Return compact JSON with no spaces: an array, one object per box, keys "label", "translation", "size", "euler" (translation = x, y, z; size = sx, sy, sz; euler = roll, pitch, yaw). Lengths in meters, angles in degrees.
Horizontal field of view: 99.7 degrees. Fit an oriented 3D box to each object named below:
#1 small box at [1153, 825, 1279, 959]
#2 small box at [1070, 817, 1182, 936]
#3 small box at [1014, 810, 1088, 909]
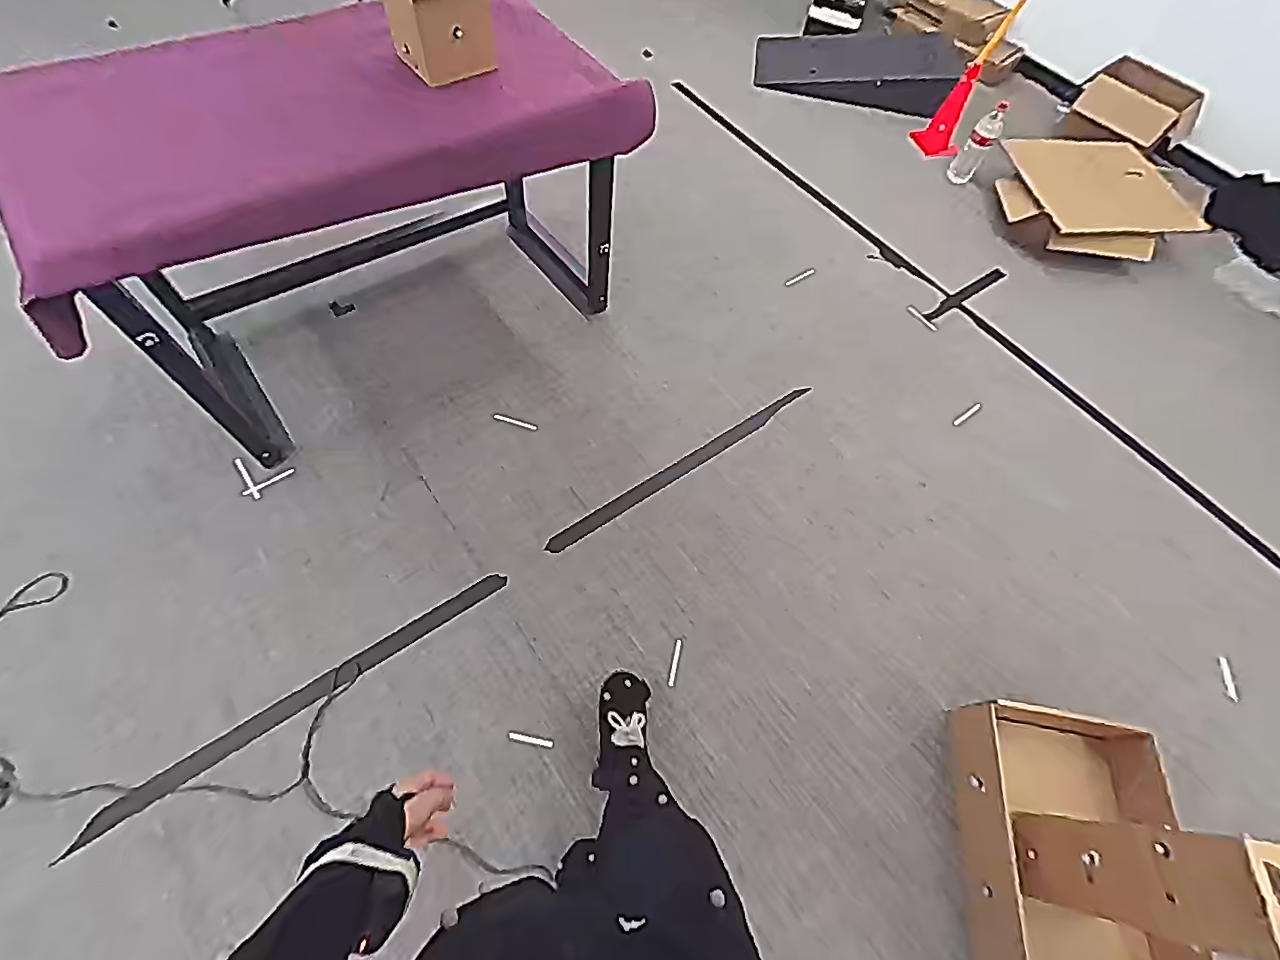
[{"label":"small box","translation":[1.001,0.677,0.885],"size":[0.179,0.176,0.168],"euler":[12,61,-2]},{"label":"small box","translation":[0.978,0.754,1.028],"size":[0.179,0.176,0.168],"euler":[12,61,0]},{"label":"small box","translation":[0.959,0.828,1.171],"size":[0.179,0.176,0.168],"euler":[14,61,0]}]
